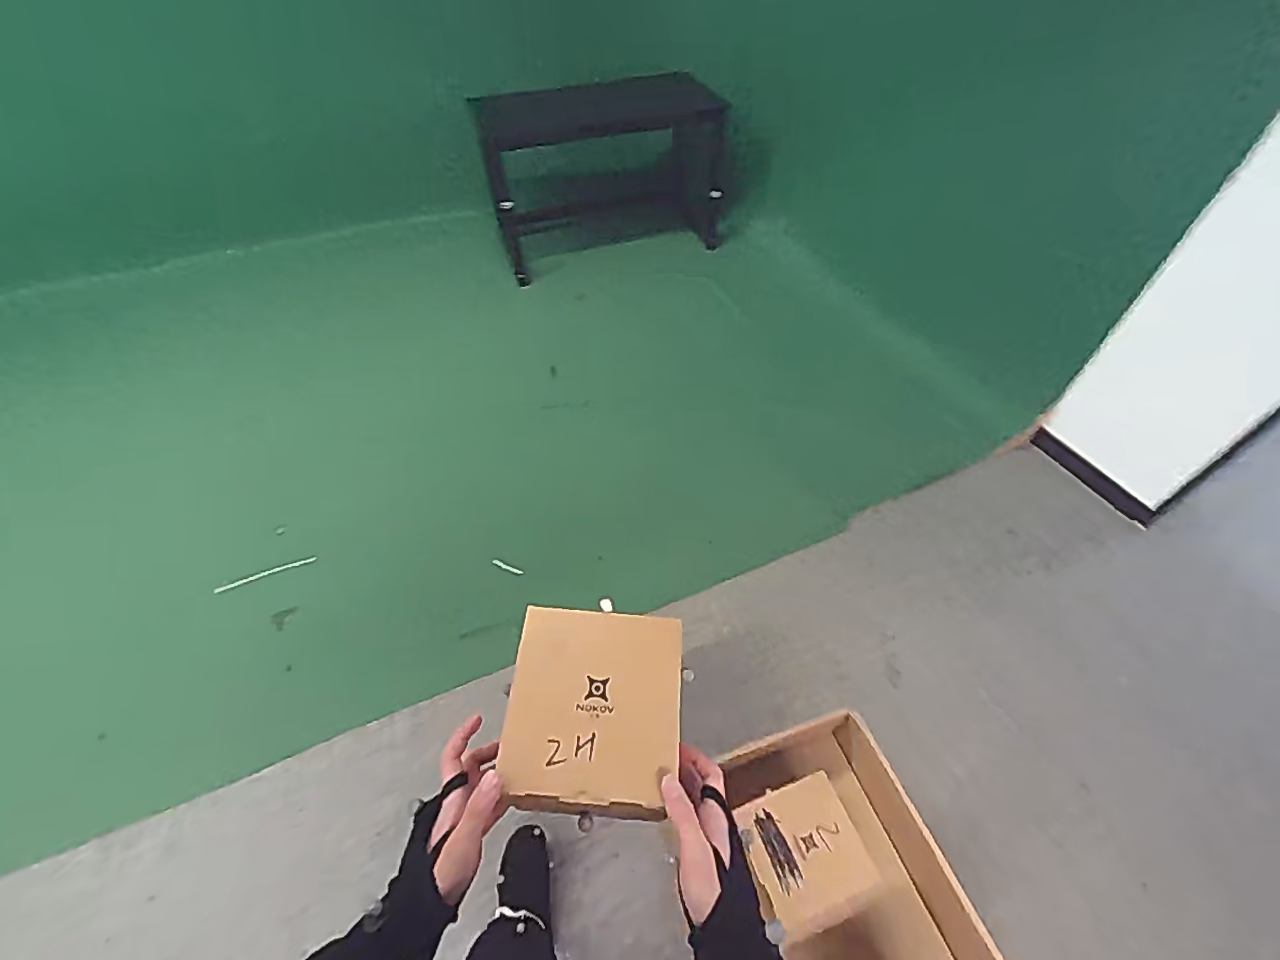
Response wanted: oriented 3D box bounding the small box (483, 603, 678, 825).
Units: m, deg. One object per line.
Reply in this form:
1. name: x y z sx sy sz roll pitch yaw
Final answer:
1. small box: -0.054 0.254 0.579 0.168 0.176 0.179 5 54 0
